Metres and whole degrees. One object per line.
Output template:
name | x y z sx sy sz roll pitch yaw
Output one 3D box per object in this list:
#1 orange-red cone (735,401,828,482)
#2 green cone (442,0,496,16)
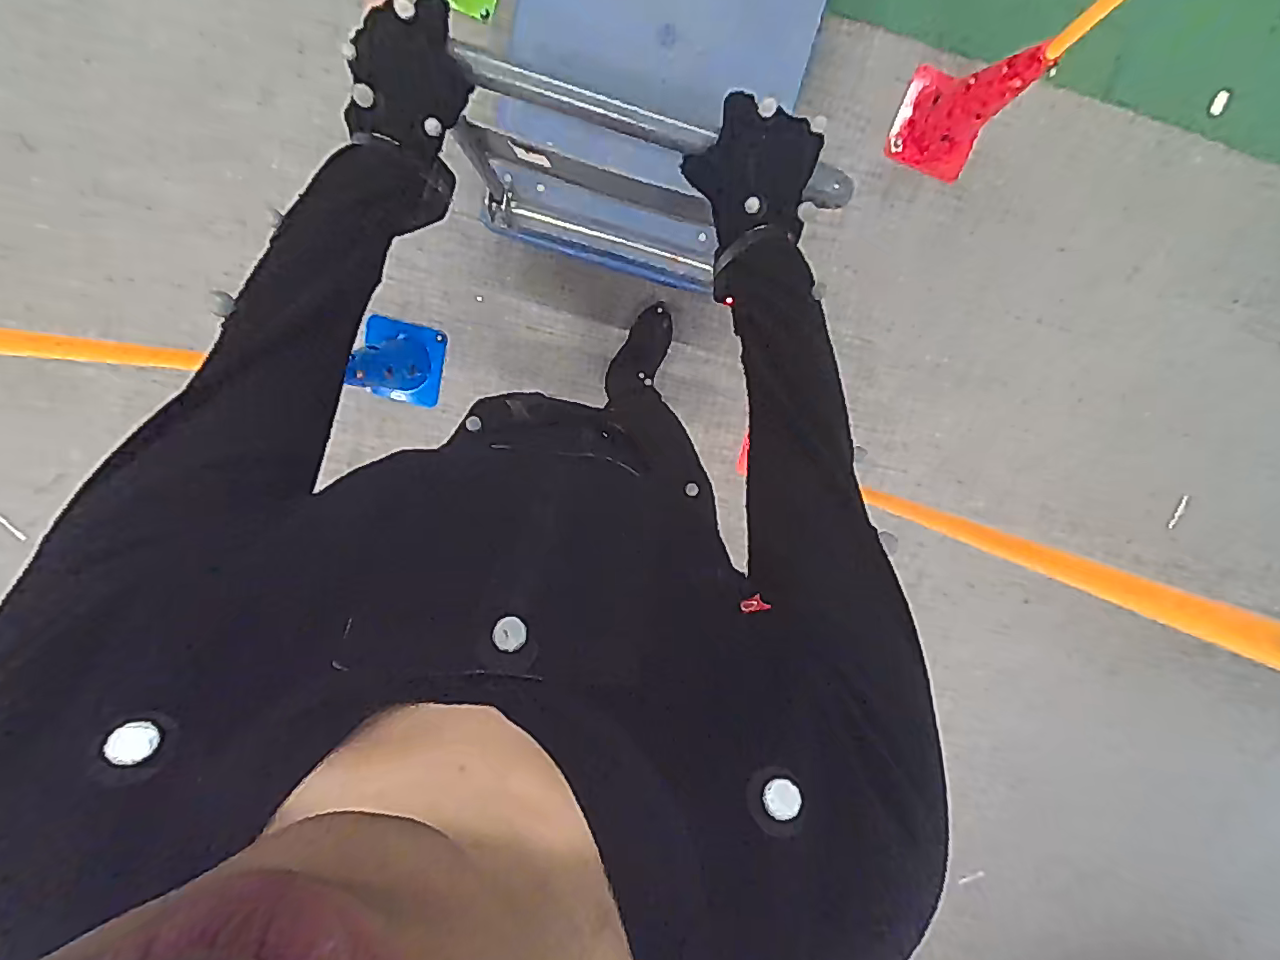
orange-red cone | 0.375 -0.059 1.310 0.199 0.360 0.198 14 104 -4
green cone | -0.386 -1.089 0.990 0.202 0.368 0.200 18 104 -6
